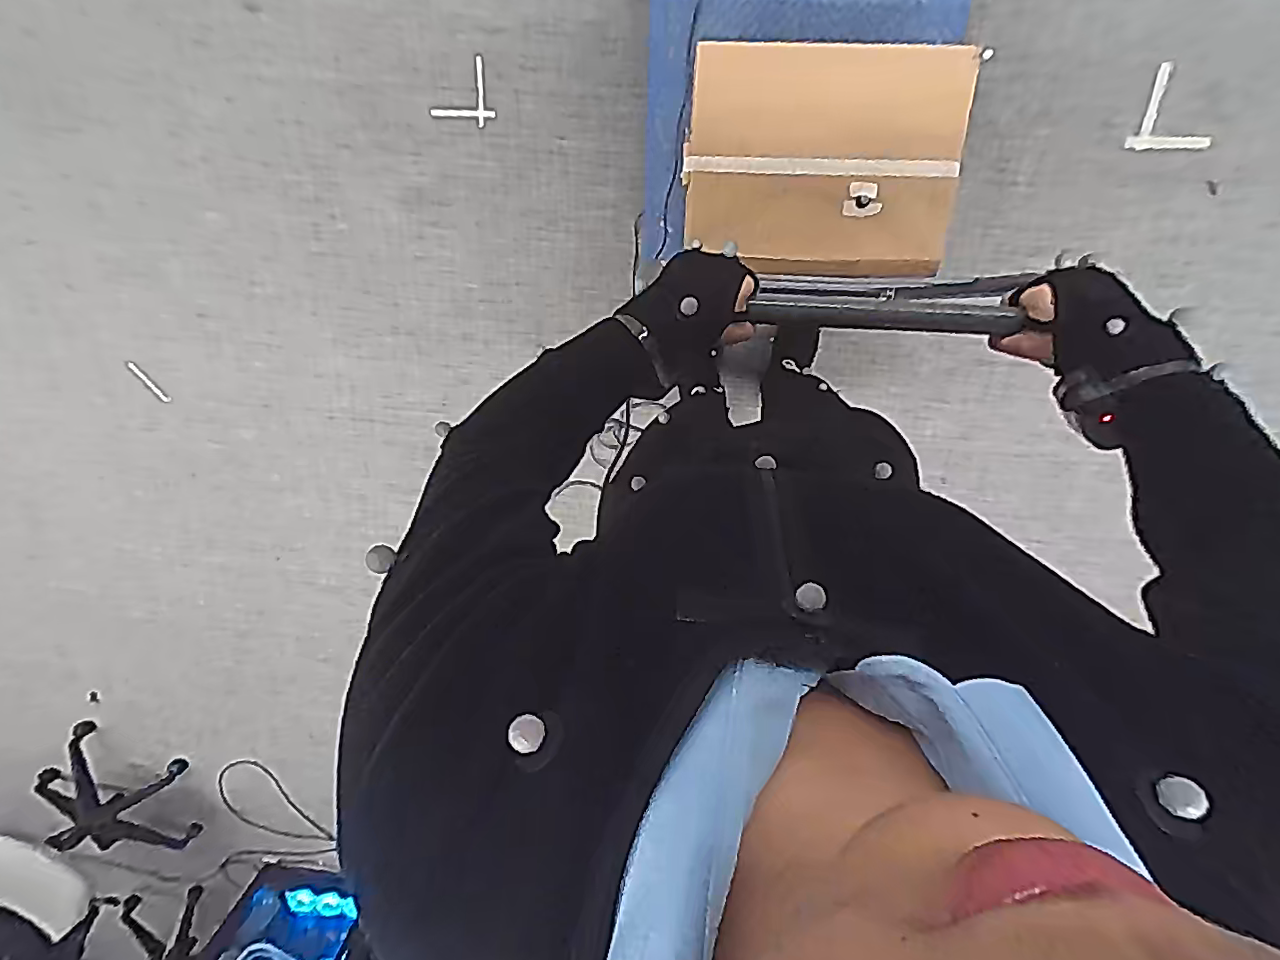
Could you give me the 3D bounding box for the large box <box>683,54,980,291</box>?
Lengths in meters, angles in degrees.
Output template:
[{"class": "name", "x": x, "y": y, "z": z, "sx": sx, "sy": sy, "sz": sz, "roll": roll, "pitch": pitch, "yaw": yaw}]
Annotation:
[{"class": "large box", "x": 0.284, "y": -0.504, "z": 0.955, "sx": 0.408, "sy": 0.320, "sz": 0.320, "roll": 3, "pitch": 110, "yaw": 3}]
